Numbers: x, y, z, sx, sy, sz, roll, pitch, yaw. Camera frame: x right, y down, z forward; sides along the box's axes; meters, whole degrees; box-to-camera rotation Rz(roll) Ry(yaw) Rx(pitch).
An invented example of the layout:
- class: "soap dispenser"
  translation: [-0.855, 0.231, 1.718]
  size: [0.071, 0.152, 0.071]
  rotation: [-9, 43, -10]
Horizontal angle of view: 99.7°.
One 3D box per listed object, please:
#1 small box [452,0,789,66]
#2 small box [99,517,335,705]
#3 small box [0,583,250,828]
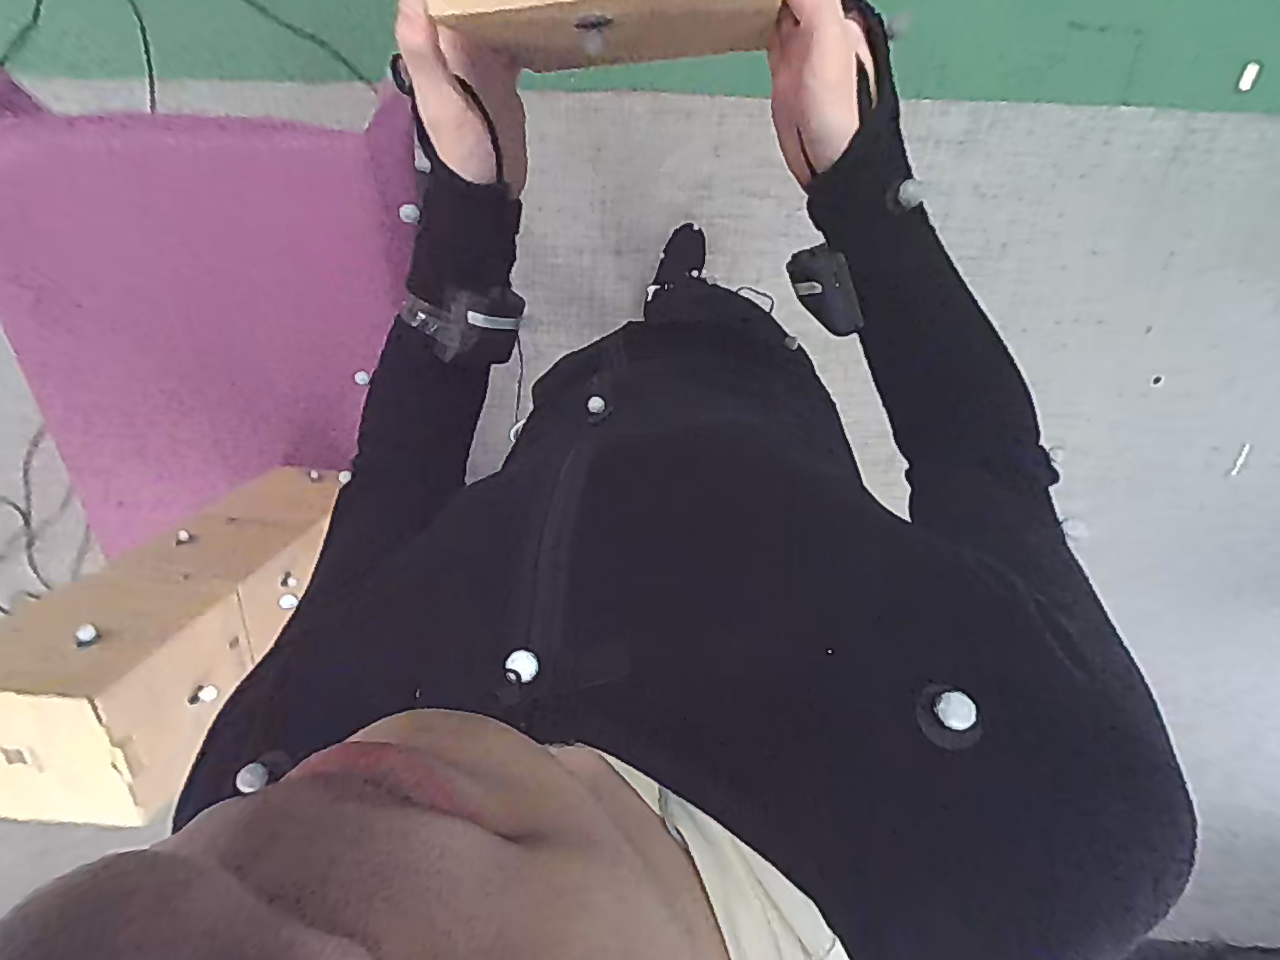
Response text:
- class: "small box"
  translation: [-0.001, -0.341, 0.288]
  size: [0.179, 0.176, 0.168]
  rotation: [2, 119, 9]
- class: "small box"
  translation: [-0.534, 0.163, 0.715]
  size: [0.168, 0.176, 0.179]
  rotation: [5, 112, 0]
- class: "small box"
  translation: [-0.546, 0.222, 0.563]
  size: [0.179, 0.176, 0.168]
  rotation: [5, 111, 0]
